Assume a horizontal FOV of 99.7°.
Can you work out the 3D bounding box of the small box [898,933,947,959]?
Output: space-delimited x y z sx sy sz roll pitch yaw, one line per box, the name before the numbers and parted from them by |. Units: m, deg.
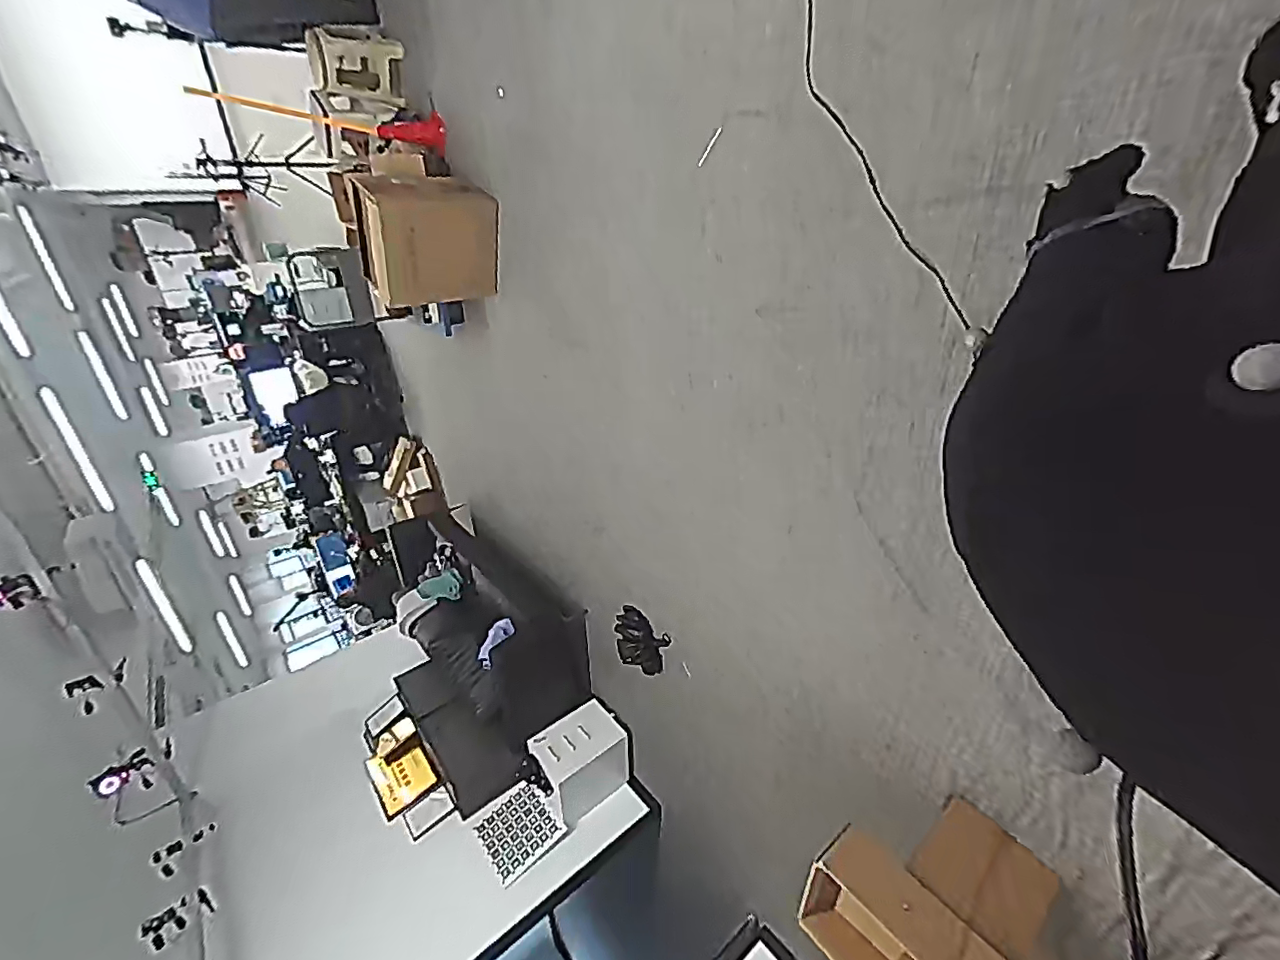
small box | 0.787 1.417 1.495 0.168 0.176 0.179 36 137 43
